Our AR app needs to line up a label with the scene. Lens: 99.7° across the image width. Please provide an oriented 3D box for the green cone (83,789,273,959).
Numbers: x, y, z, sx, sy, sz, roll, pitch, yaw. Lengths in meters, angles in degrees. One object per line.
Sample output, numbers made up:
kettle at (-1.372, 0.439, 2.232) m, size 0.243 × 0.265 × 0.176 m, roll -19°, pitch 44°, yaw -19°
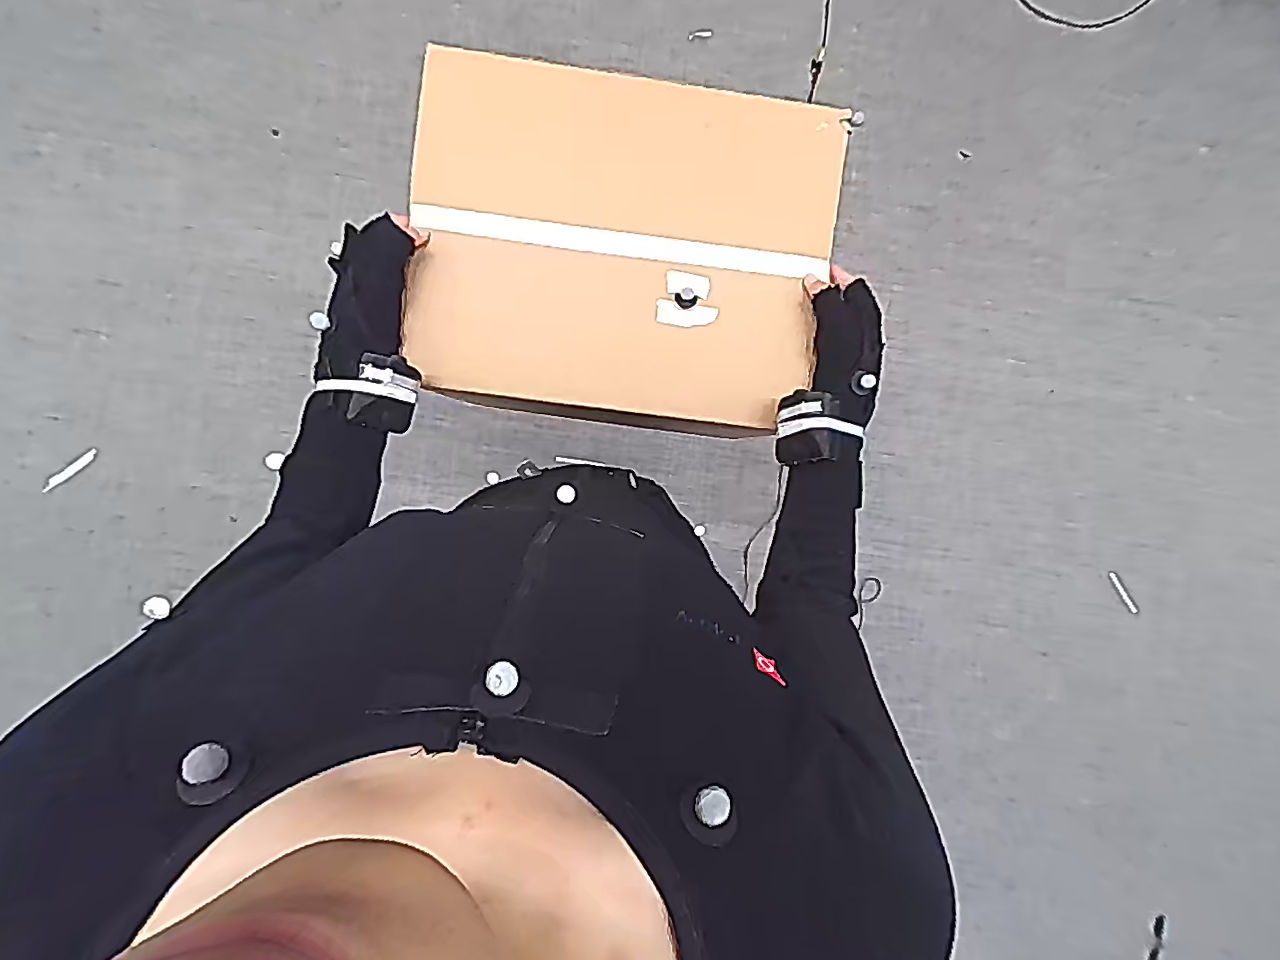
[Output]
green cone at (-1.098, 0.945, 1.263) m, size 0.202 × 0.368 × 0.200 m, roll -30°, pitch 91°, yaw -1°

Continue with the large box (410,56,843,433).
large box at (-0.021, -0.237, 0.675) m, size 0.408 × 0.320 × 0.320 m, roll 7°, pitch 93°, yaw -3°
